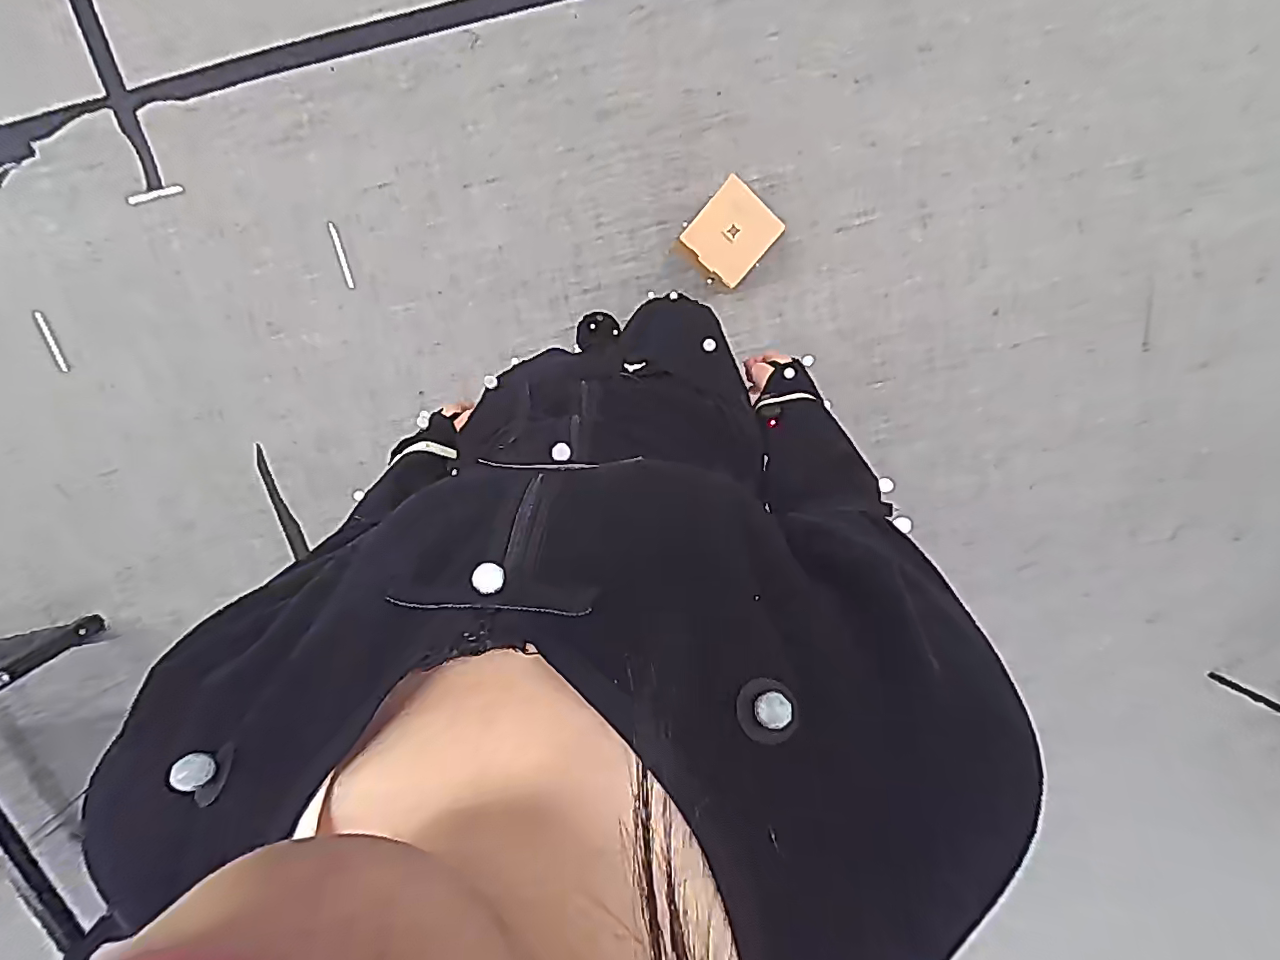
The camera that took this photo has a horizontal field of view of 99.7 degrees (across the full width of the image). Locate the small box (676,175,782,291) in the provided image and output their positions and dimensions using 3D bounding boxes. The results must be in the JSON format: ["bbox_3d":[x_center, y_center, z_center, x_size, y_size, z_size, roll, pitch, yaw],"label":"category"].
[{"bbox_3d":[0.197,-0.562,1.262,0.168,0.176,0.179,40,101,-12],"label":"small box"}]
